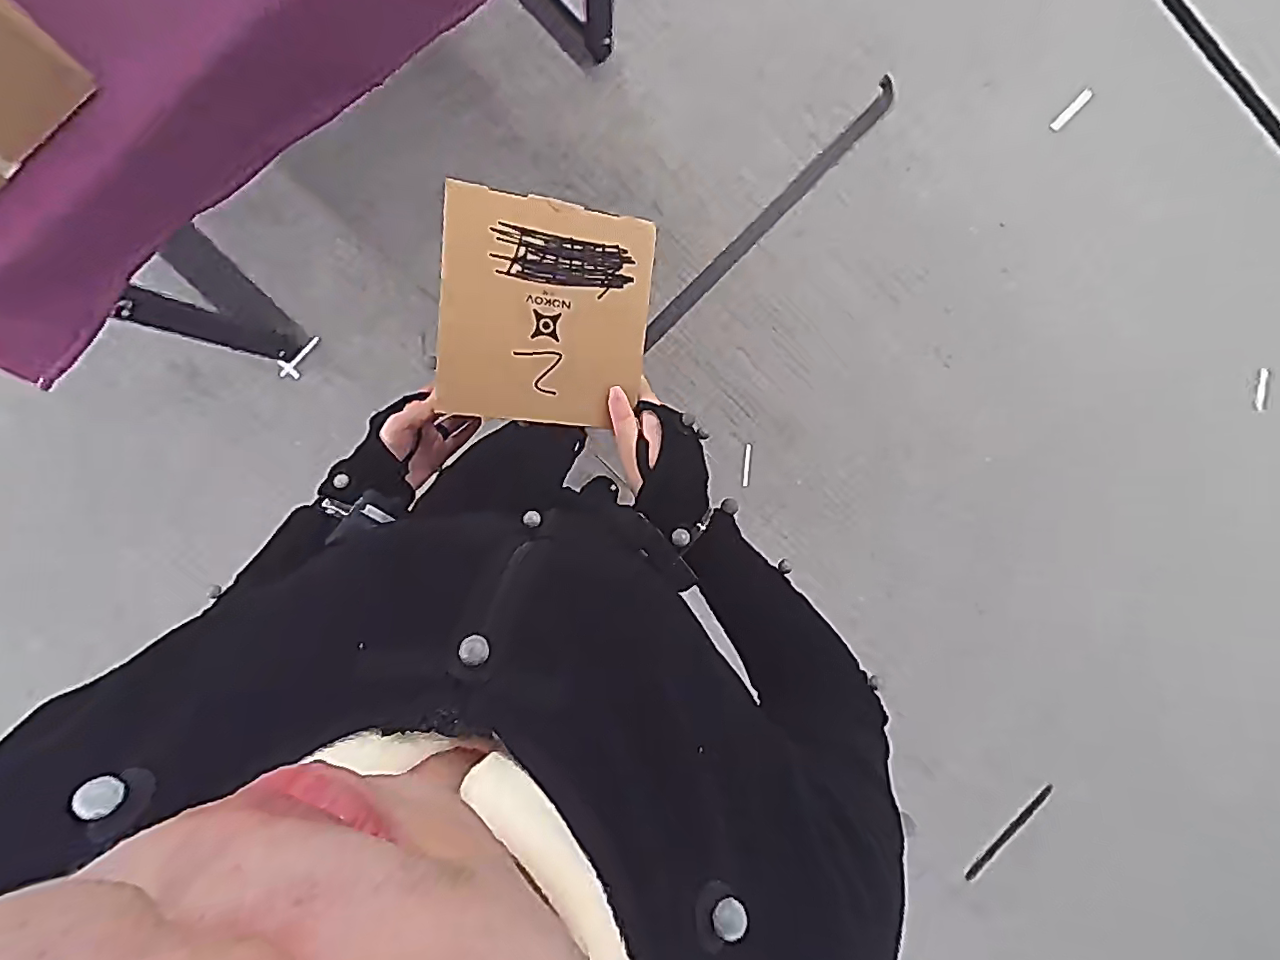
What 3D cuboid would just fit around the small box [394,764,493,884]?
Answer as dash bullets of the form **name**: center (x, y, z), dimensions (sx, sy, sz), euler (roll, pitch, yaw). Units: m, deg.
- **small box**: center (-0.513, 0.910, 1.449), dimensions (0.179, 0.176, 0.168), euler (-40, 96, 0)
